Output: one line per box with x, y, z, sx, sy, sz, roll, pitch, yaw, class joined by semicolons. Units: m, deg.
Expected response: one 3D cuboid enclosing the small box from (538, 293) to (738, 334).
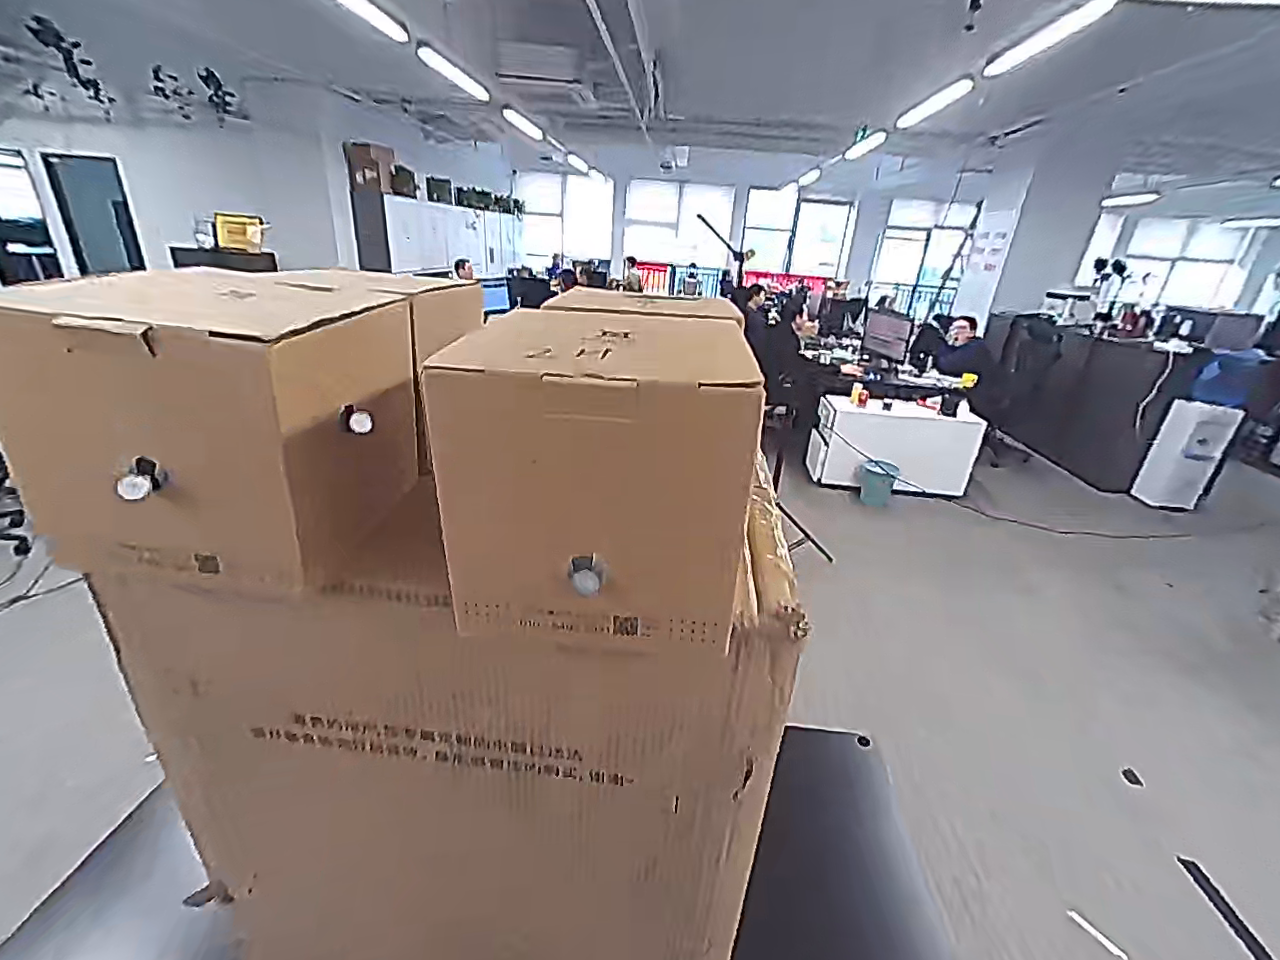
-0.002;-0.088;0.537;0.168;0.176;0.179;3;23;2;small box

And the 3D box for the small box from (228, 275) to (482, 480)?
-0.272;-0.114;0.562;0.168;0.176;0.179;5;23;2;small box

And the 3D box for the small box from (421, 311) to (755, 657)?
-0.023;-0.011;0.364;0.168;0.176;0.179;3;26;3;small box
